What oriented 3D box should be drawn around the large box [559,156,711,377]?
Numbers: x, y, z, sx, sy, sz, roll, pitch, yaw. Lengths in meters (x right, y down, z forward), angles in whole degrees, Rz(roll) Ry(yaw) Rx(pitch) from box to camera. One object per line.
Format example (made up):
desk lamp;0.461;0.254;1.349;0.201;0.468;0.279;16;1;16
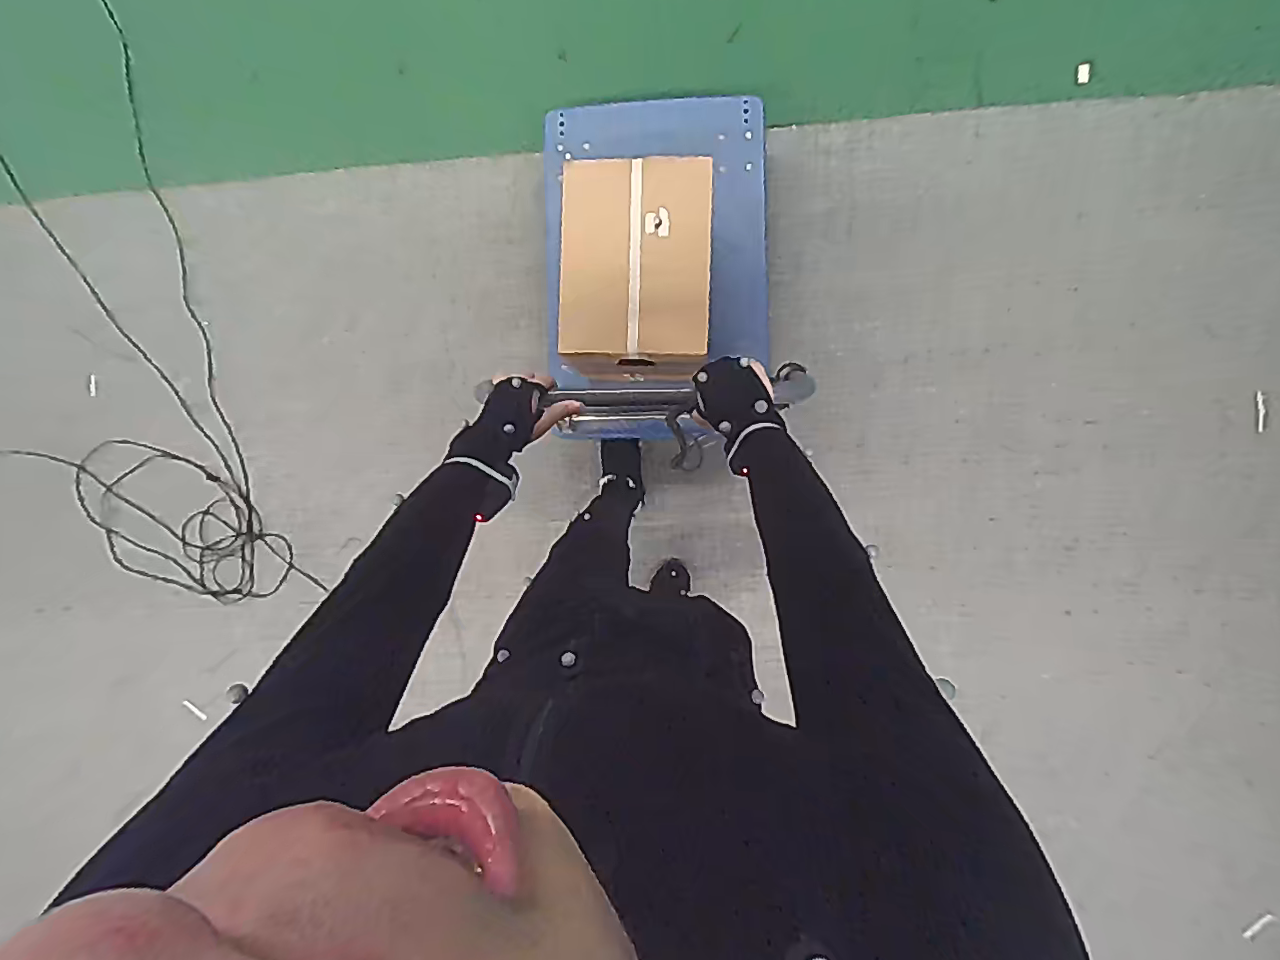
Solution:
large box;0.002;-0.466;1.266;0.320;0.320;0.408;2;90;4
